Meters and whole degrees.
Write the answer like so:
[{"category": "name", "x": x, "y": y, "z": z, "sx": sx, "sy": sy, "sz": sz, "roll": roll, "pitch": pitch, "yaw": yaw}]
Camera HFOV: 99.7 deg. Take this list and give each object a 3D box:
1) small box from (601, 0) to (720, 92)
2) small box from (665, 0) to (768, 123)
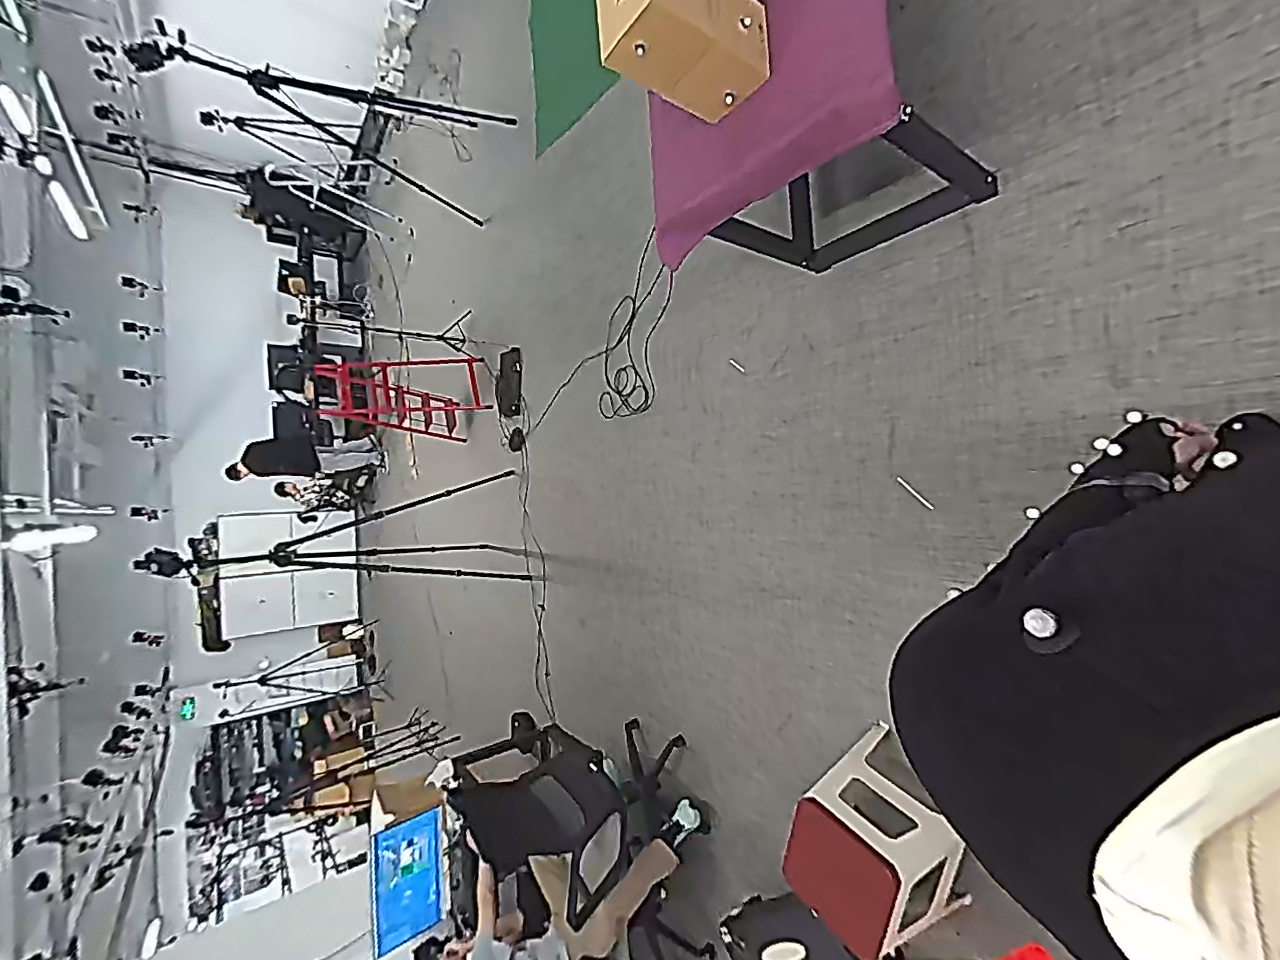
[{"category": "small box", "x": 0.039, "y": -0.941, "z": 1.094, "sx": 0.179, "sy": 0.176, "sz": 0.168, "roll": -8, "pitch": 86, "yaw": 52}, {"category": "small box", "x": 0.169, "y": -0.943, "z": 1.196, "sx": 0.179, "sy": 0.176, "sz": 0.168, "roll": -7, "pitch": 85, "yaw": 52}]
